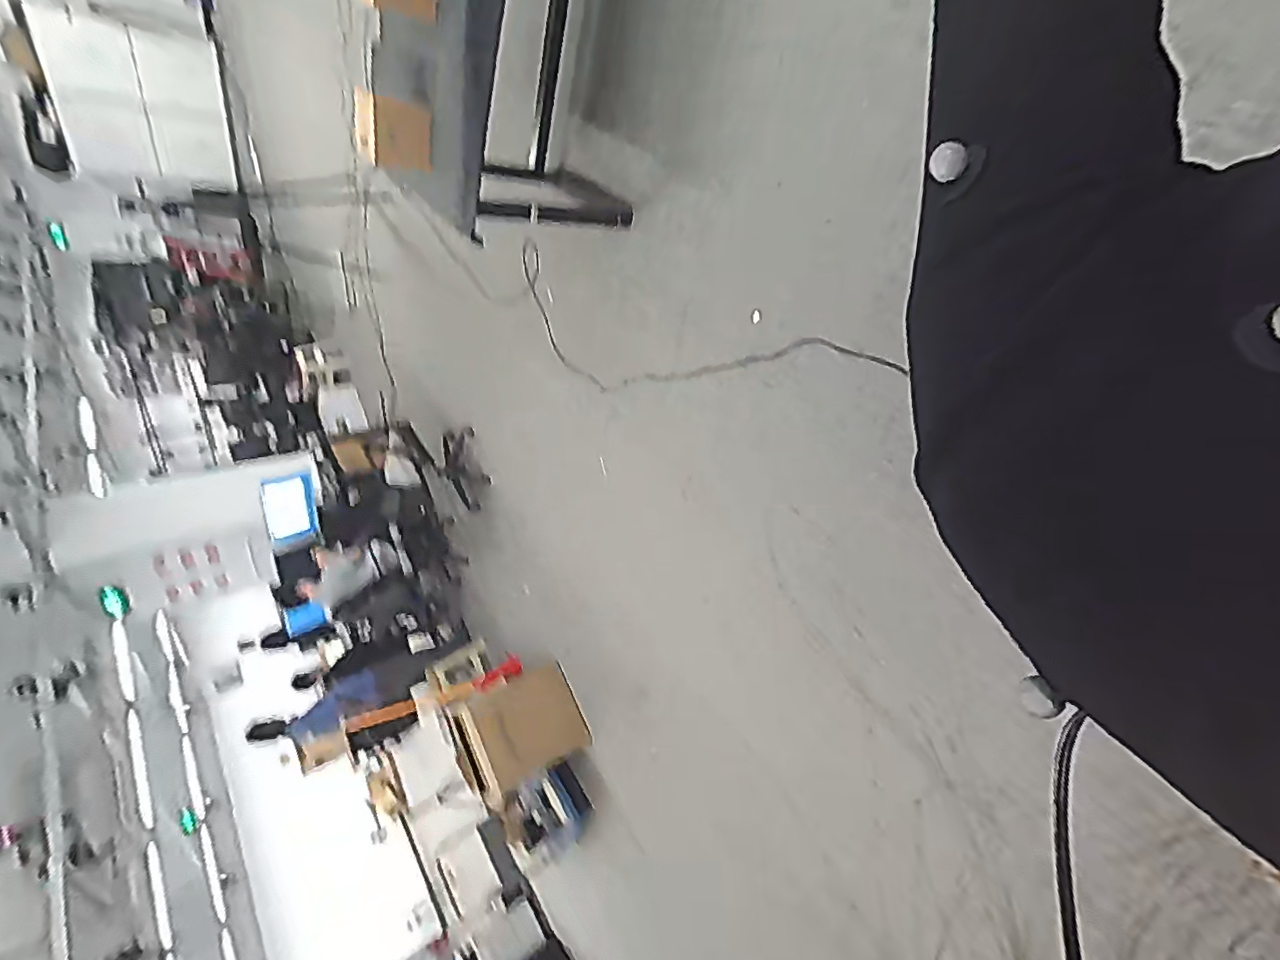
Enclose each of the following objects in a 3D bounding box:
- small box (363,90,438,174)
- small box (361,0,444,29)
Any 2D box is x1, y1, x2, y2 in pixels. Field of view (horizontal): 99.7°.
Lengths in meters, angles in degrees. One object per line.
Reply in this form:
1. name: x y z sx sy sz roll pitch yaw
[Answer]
1. small box: -0.738 -1.069 1.671 0.168 0.176 0.179 44 132 33
2. small box: -0.632 -1.342 1.444 0.179 0.176 0.168 47 135 30
